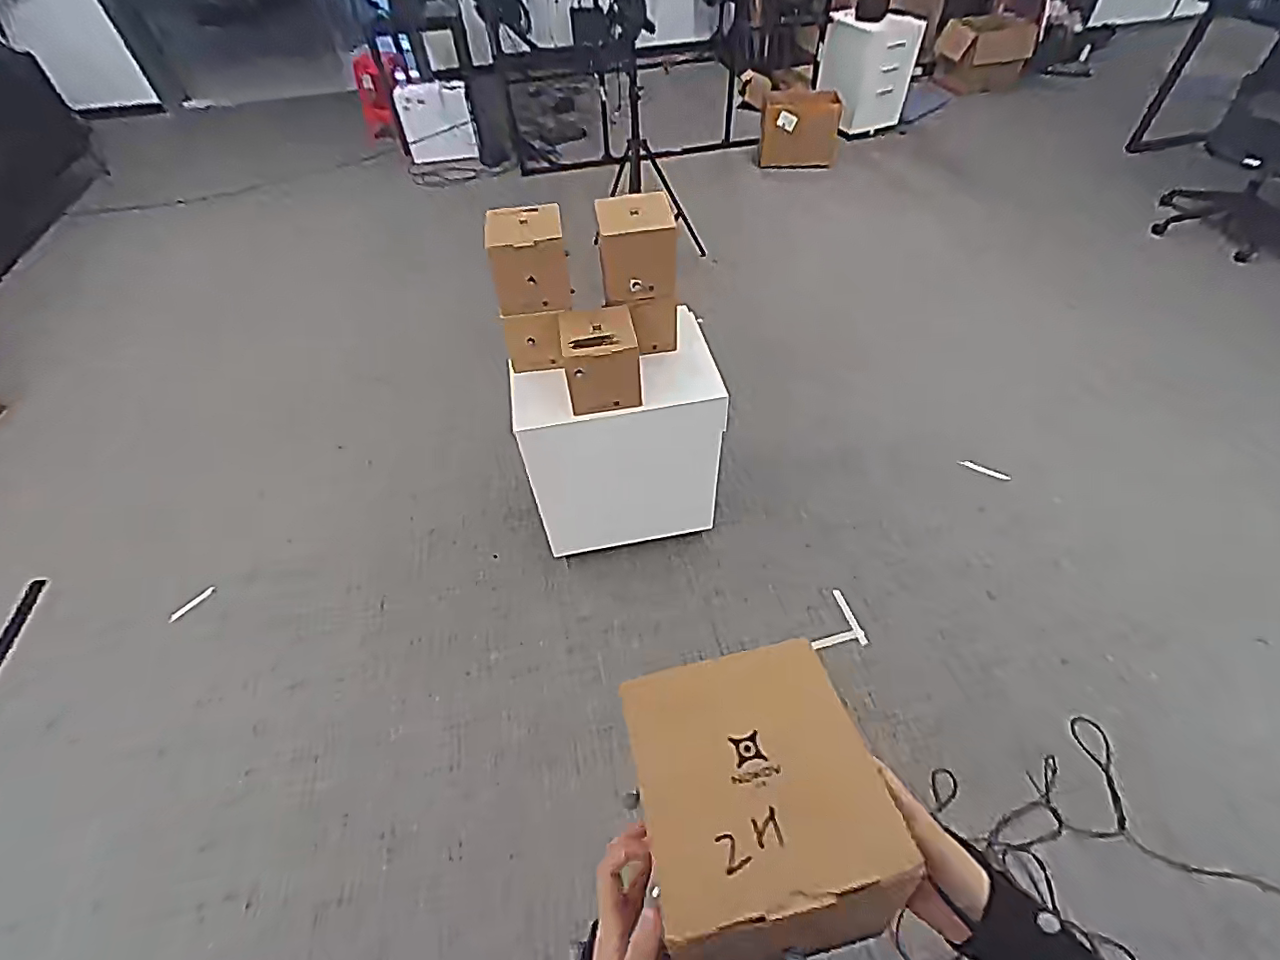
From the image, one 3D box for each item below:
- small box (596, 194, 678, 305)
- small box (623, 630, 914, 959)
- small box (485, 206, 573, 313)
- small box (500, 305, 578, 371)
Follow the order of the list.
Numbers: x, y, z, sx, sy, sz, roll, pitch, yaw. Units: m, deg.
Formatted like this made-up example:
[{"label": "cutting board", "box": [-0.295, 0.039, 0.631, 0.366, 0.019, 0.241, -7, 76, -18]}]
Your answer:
[{"label": "small box", "box": [-0.008, -0.535, 1.258, 0.168, 0.176, 0.179, -9, 52, -3]}, {"label": "small box", "box": [0.087, 0.260, 0.447, 0.168, 0.176, 0.179, -13, 39, -4]}, {"label": "small box", "box": [-0.250, -0.499, 1.241, 0.168, 0.176, 0.179, -7, 51, -3]}, {"label": "small box", "box": [-0.250, -0.389, 1.364, 0.168, 0.176, 0.179, -7, 51, -3]}]
